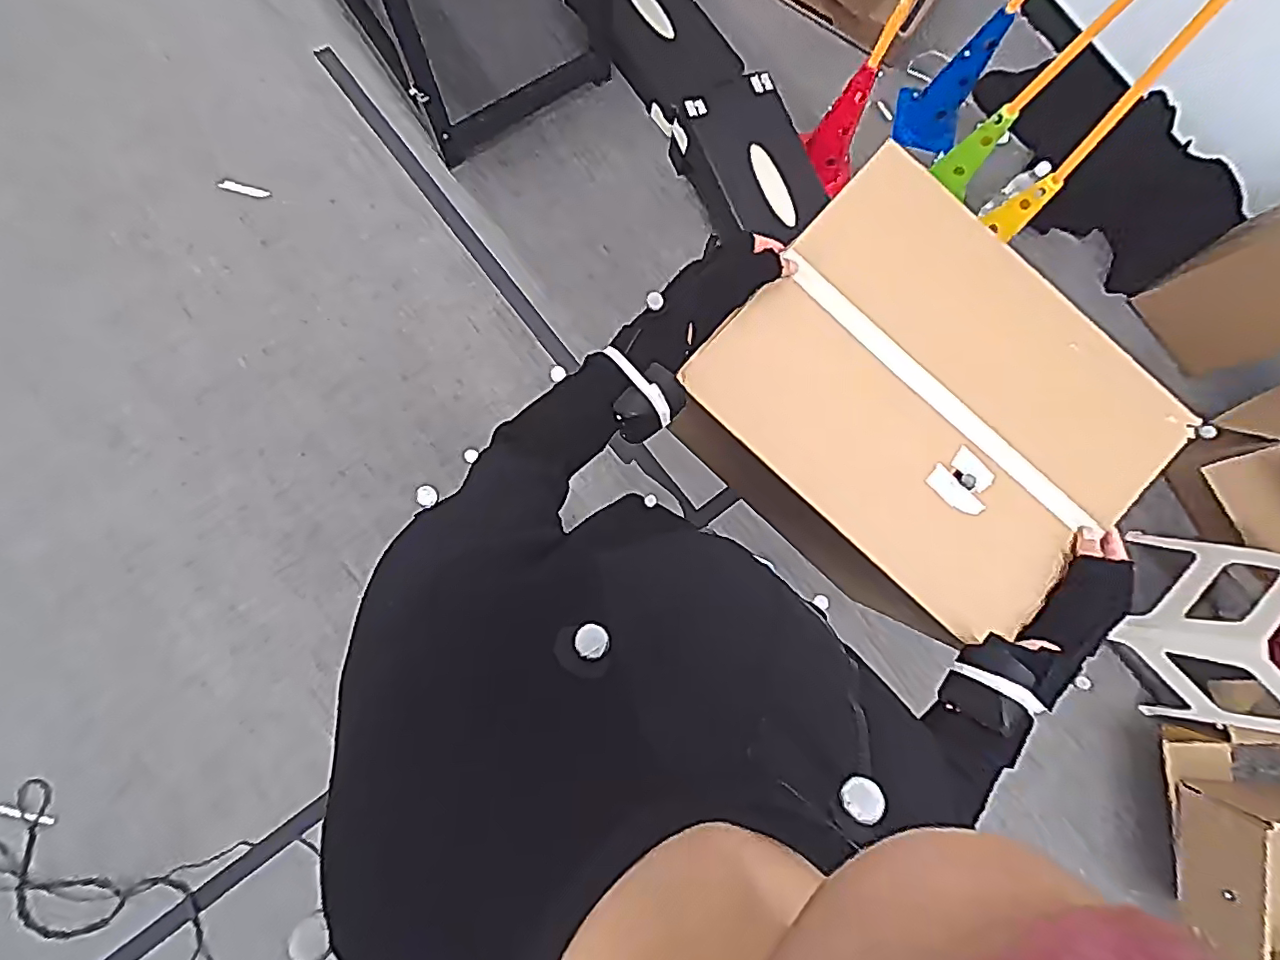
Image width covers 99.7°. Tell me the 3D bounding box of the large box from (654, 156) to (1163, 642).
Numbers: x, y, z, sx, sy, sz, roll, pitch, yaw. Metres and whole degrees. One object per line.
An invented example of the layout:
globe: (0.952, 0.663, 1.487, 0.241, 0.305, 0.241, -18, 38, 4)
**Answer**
large box: (0.271, -0.080, 0.679, 0.408, 0.320, 0.320, 43, 89, -2)
